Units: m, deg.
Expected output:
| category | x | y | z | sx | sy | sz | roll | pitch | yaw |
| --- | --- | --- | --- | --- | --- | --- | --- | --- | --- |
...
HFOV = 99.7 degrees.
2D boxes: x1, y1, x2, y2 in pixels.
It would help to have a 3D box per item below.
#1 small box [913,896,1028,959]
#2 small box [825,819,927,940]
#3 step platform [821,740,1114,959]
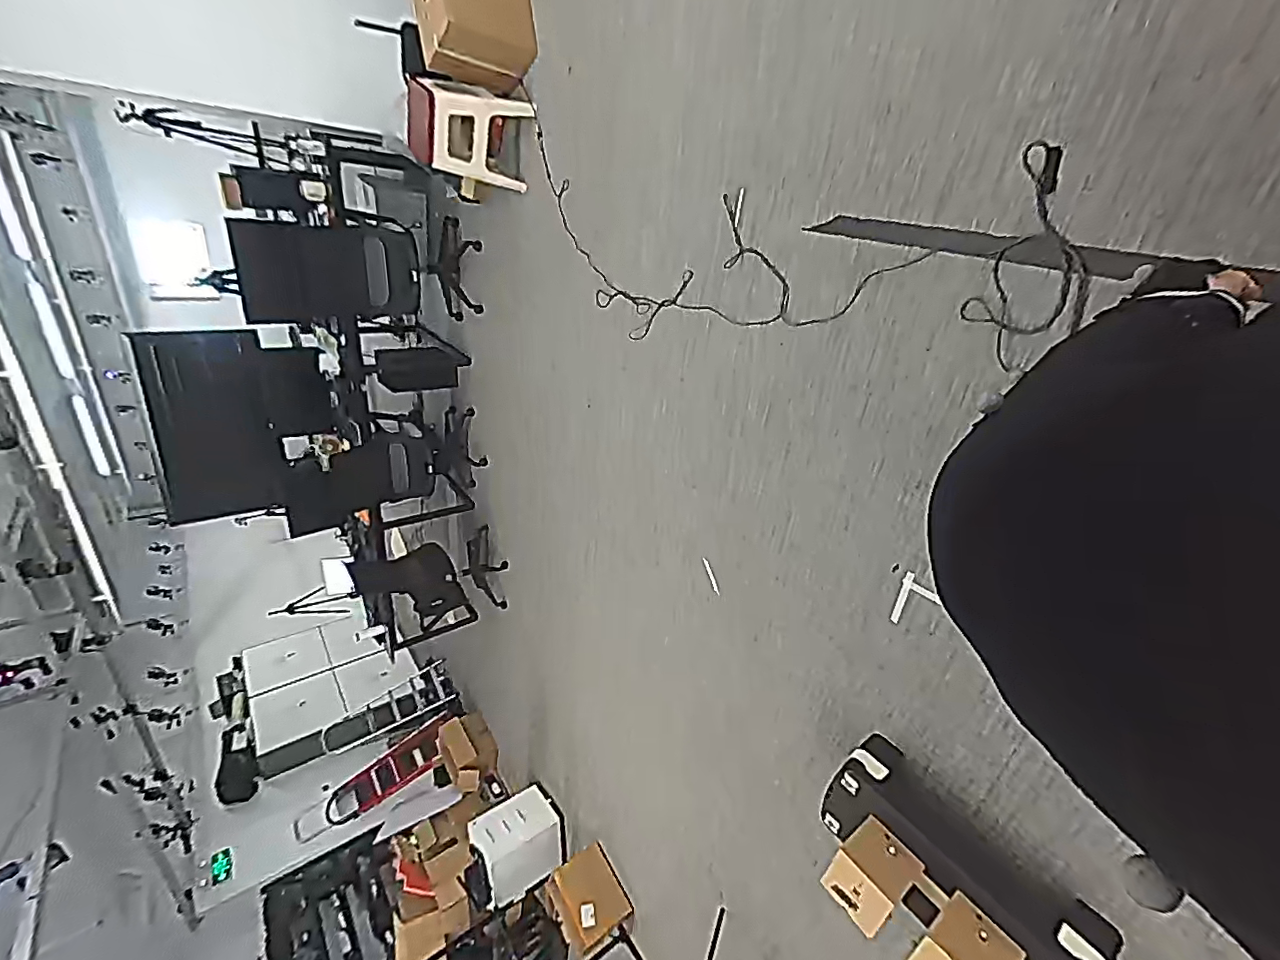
| category | x | y | z | sx | sy | sz | roll | pitch | yaw |
| --- | --- | --- | --- | --- | --- | --- | --- | --- | --- |
| small box | 0.790 | 1.165 | 1.299 | 0.168 | 0.176 | 0.179 | 36 | 128 | 41 |
| small box | 0.643 | 1.078 | 1.469 | 0.168 | 0.176 | 0.179 | 37 | 128 | 41 |
| step platform | 0.843 | 1.090 | 1.500 | 0.684 | 0.204 | 0.286 | 34 | 128 | 42 |
